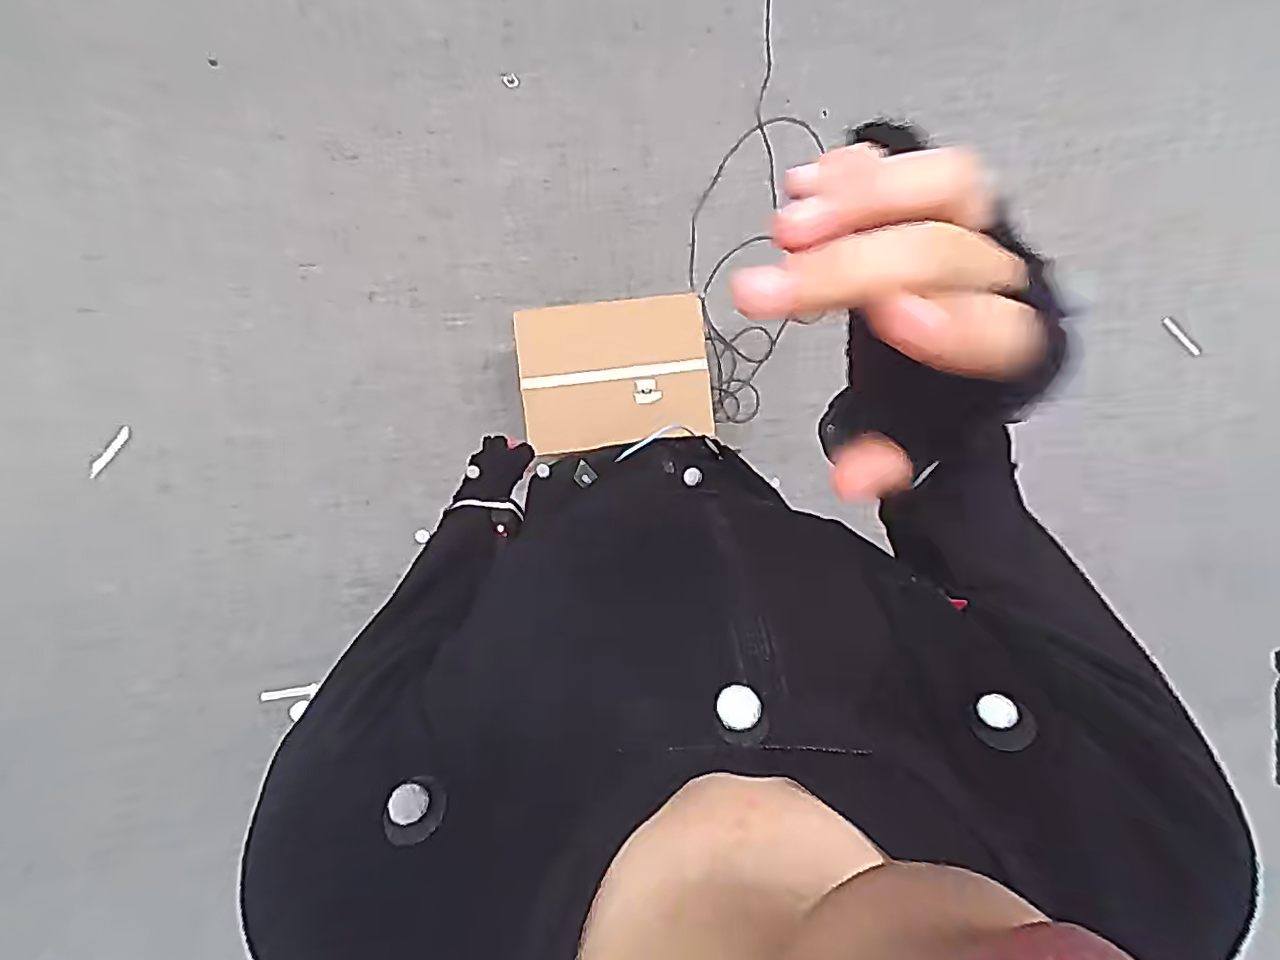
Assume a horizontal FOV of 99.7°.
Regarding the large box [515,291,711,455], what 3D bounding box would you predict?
[{"bbox_3d":[-0.063,-0.239,1.321,0.408,0.320,0.320,-6,92,-2],"label":"large box"}]
